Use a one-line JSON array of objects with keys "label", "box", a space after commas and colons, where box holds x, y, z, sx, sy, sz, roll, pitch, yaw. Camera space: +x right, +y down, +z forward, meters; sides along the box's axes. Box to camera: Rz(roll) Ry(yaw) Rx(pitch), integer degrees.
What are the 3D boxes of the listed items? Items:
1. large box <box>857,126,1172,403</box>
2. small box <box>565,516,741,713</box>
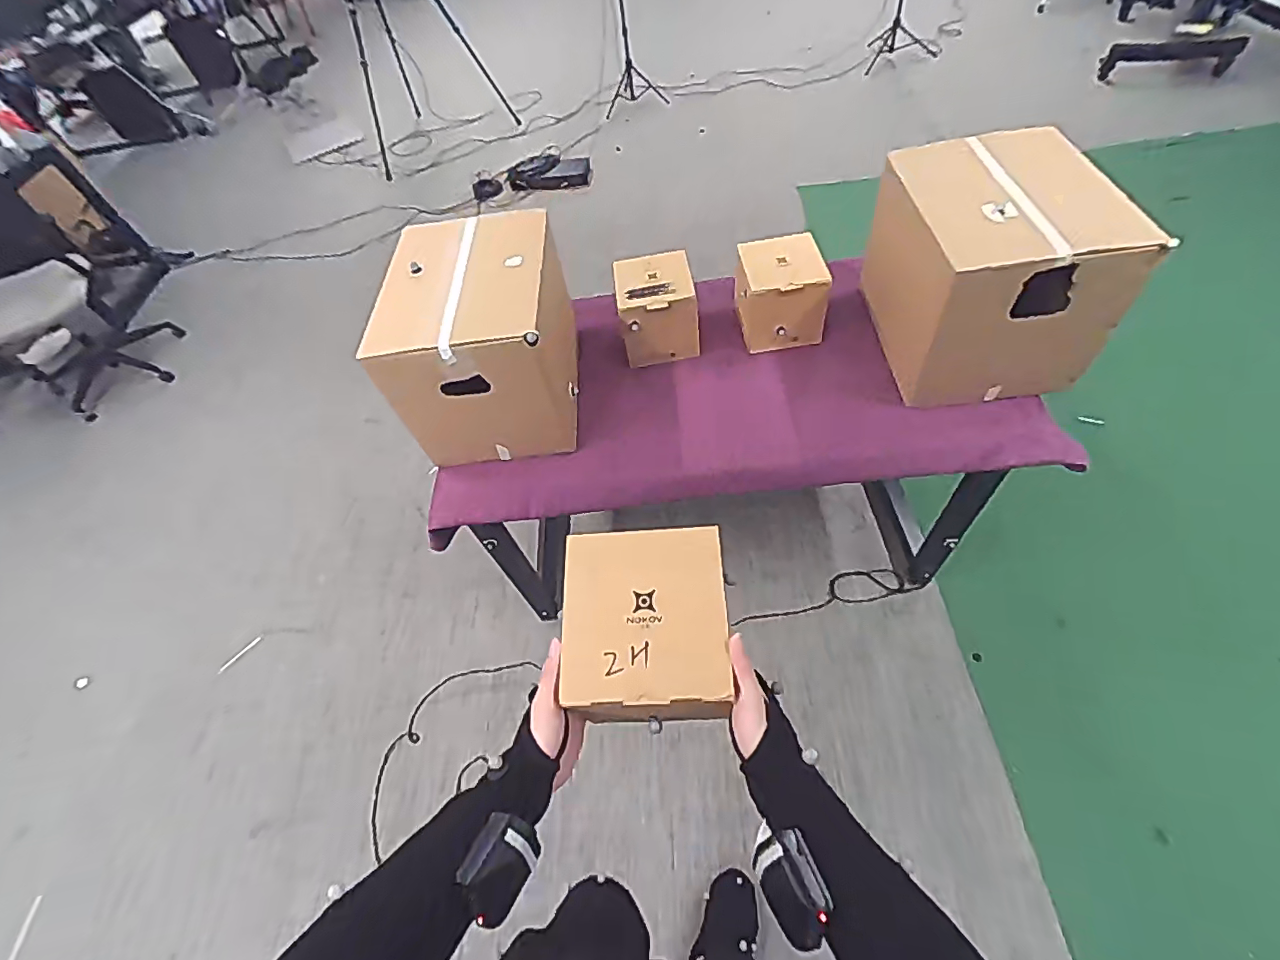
[{"label": "large box", "box": [0.654, -0.412, 1.051, 0.320, 0.320, 0.408, -6, 56, 6]}, {"label": "small box", "box": [0.017, 0.156, 0.607, 0.168, 0.176, 0.179, -4, 61, 5]}]
